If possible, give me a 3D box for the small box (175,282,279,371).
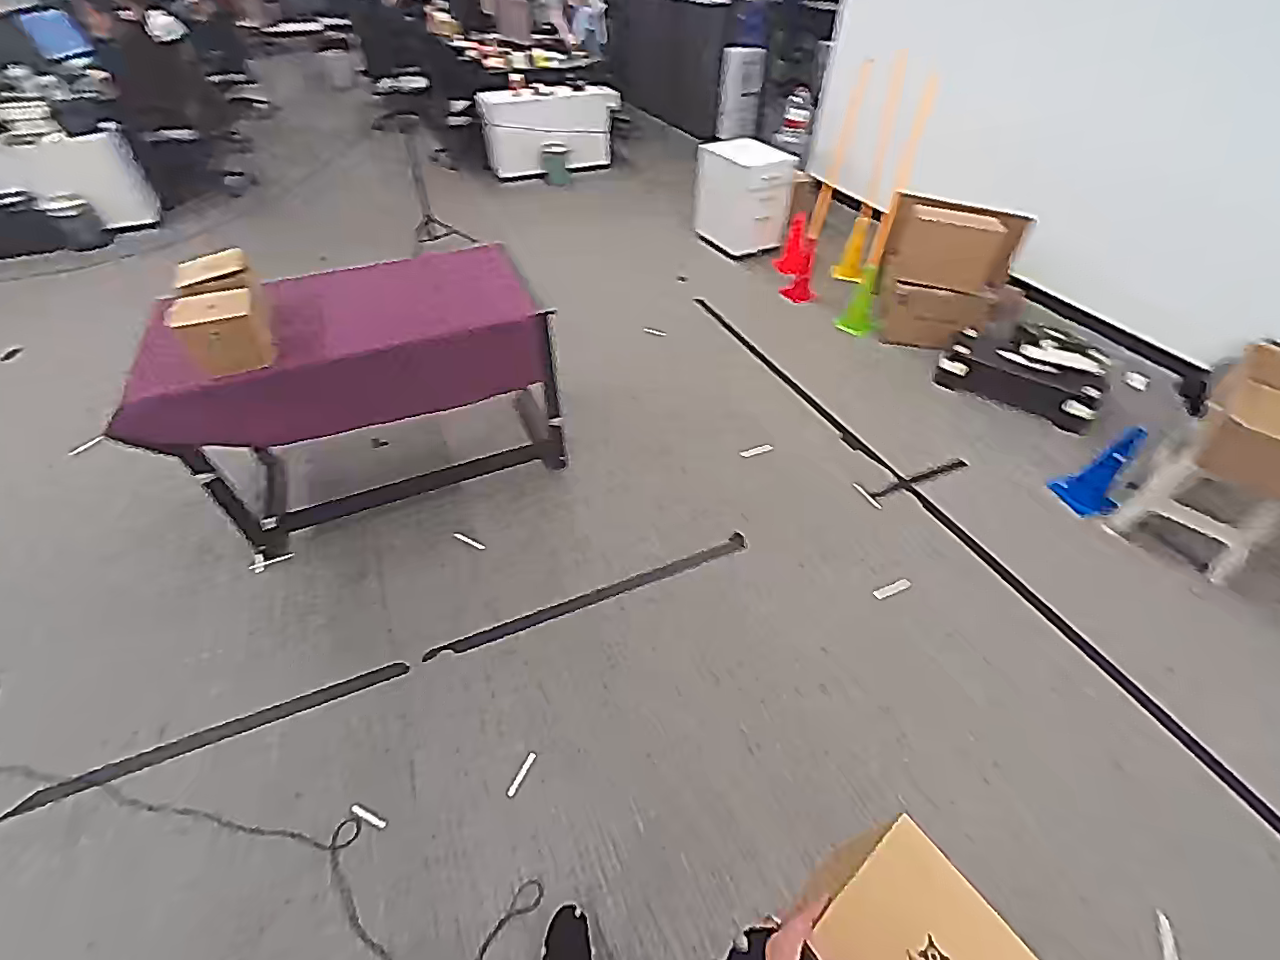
[{"bbox_3d":[-1.146,-0.426,1.513,0.179,0.176,0.168,-17,49,-18],"label":"small box"}]

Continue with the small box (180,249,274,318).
[{"bbox_3d":[-1.259,-0.583,1.659,0.179,0.176,0.168,-19,50,-20],"label":"small box"}]
